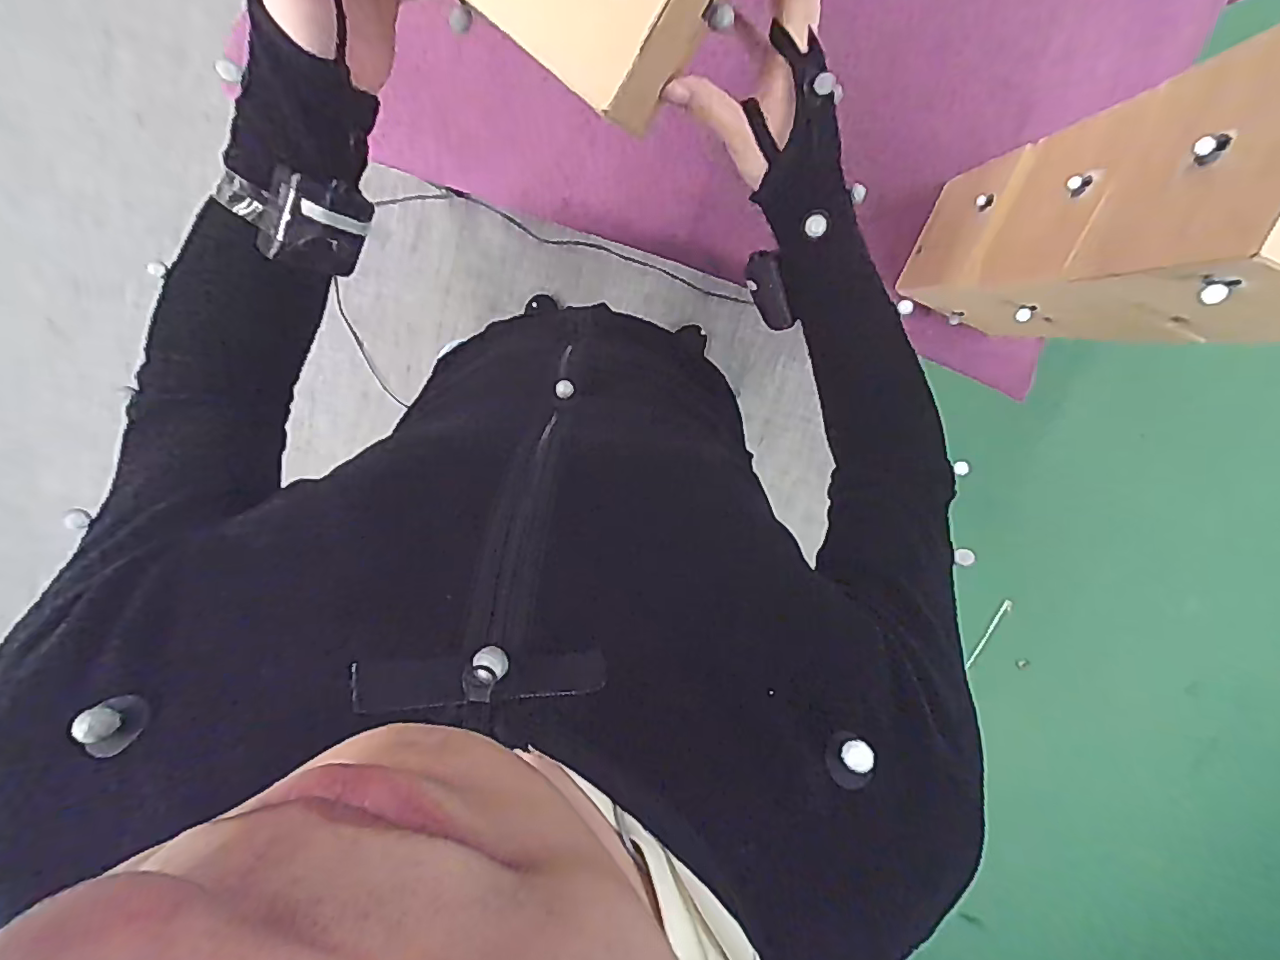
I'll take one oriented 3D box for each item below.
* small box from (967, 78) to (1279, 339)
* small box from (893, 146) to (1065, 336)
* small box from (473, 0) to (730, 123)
[{"bbox_3d":[0.495,-0.265,0.572,0.168,0.176,0.179,21,105,-6],"label":"small box"},{"bbox_3d":[0.487,-0.308,0.729,0.179,0.176,0.168,21,104,-8],"label":"small box"},{"bbox_3d":[-0.029,-0.326,0.290,0.179,0.176,0.168,35,117,-12],"label":"small box"}]
